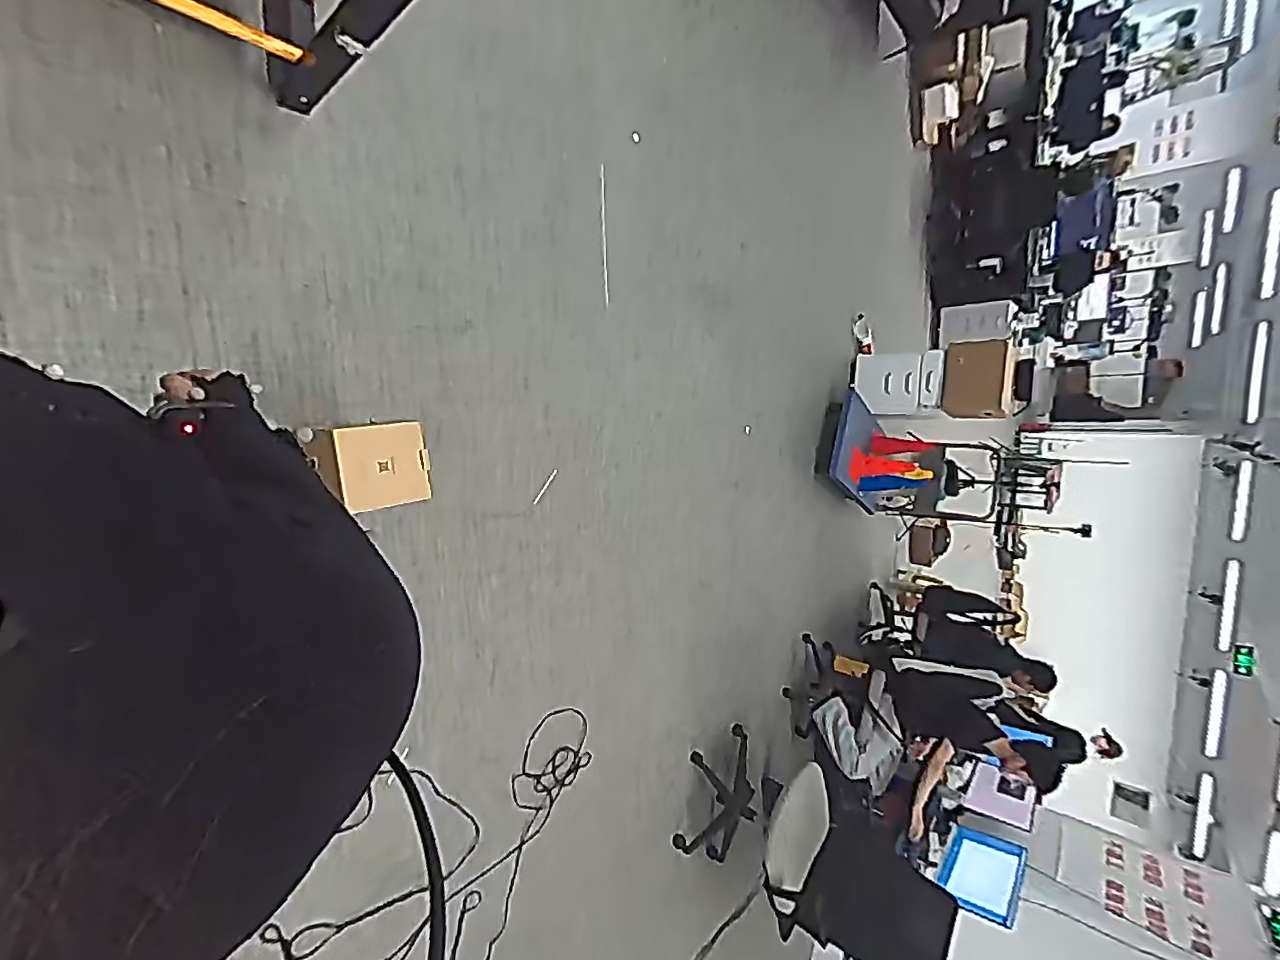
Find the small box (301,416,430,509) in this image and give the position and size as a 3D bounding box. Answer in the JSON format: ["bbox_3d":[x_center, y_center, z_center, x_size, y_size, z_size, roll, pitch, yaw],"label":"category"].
[{"bbox_3d":[-0.567,-0.044,1.118,0.179,0.176,0.168,-16,105,-47],"label":"small box"}]

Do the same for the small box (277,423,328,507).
[{"bbox_3d":[-0.694,-0.044,1.222,0.168,0.176,0.179,-16,105,-48],"label":"small box"}]
